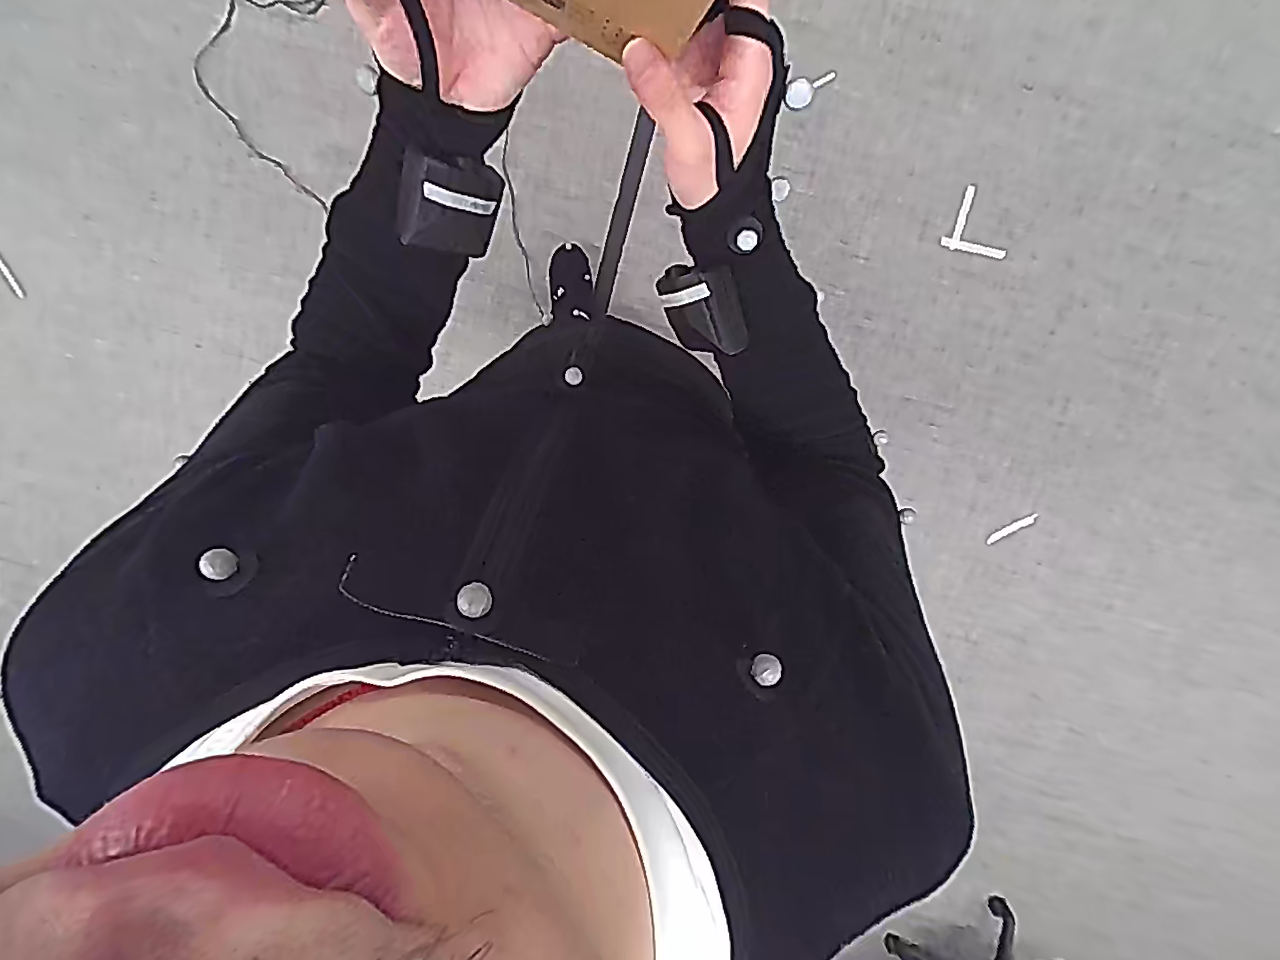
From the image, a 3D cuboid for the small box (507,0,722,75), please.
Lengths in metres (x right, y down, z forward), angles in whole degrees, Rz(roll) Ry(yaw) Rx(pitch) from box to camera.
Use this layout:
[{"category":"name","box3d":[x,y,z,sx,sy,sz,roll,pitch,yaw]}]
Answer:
[{"category":"small box","box3d":[-0.012,-0.289,0.174,0.168,0.176,0.179,16,102,-18]}]
